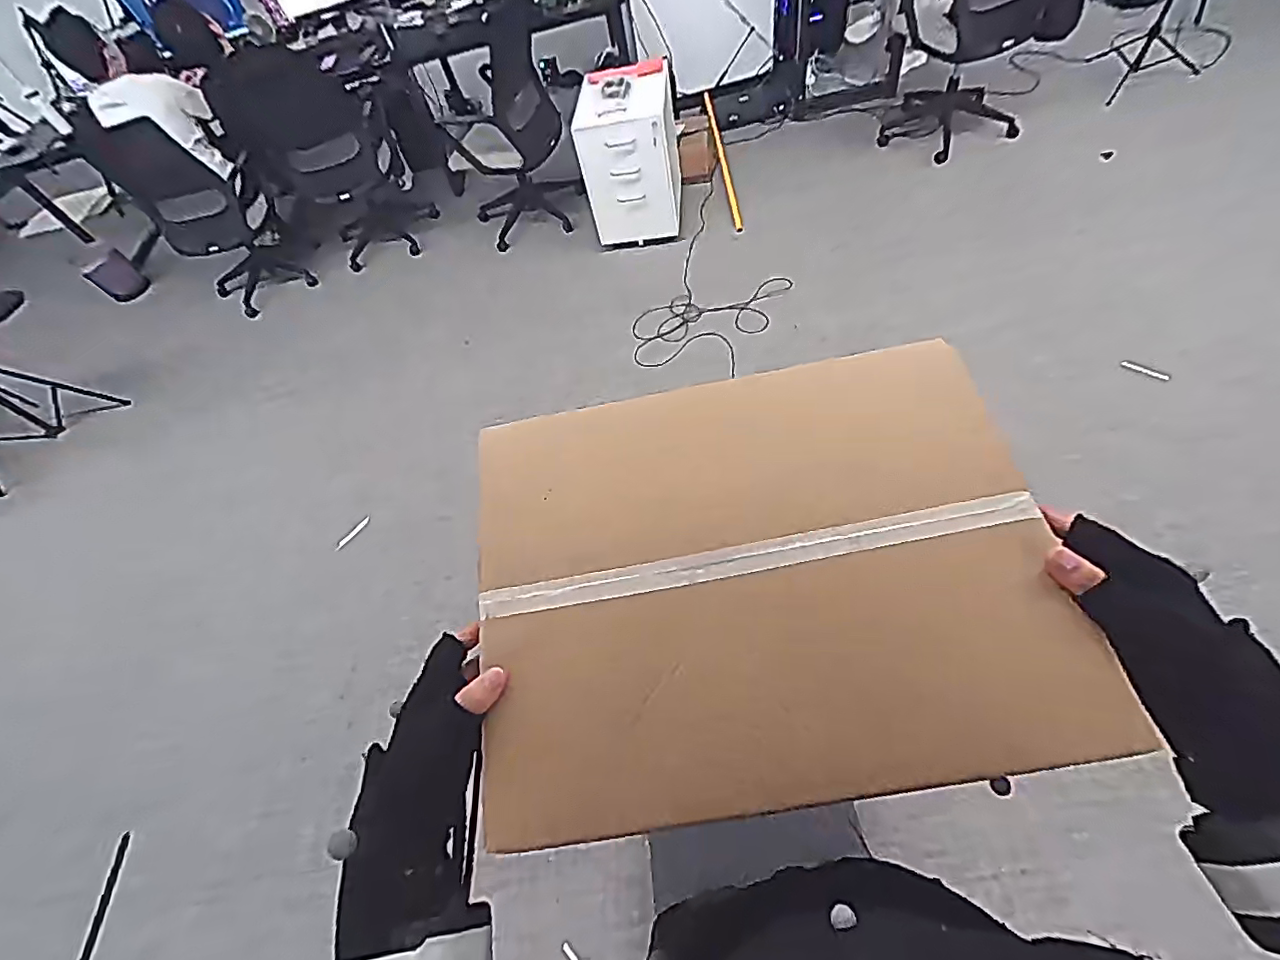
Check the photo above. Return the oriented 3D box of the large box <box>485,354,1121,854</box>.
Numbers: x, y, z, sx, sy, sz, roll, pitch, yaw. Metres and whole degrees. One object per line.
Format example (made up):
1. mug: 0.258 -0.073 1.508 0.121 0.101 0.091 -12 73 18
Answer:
1. large box: 0.100 0.127 0.536 0.408 0.320 0.320 -11 63 2
